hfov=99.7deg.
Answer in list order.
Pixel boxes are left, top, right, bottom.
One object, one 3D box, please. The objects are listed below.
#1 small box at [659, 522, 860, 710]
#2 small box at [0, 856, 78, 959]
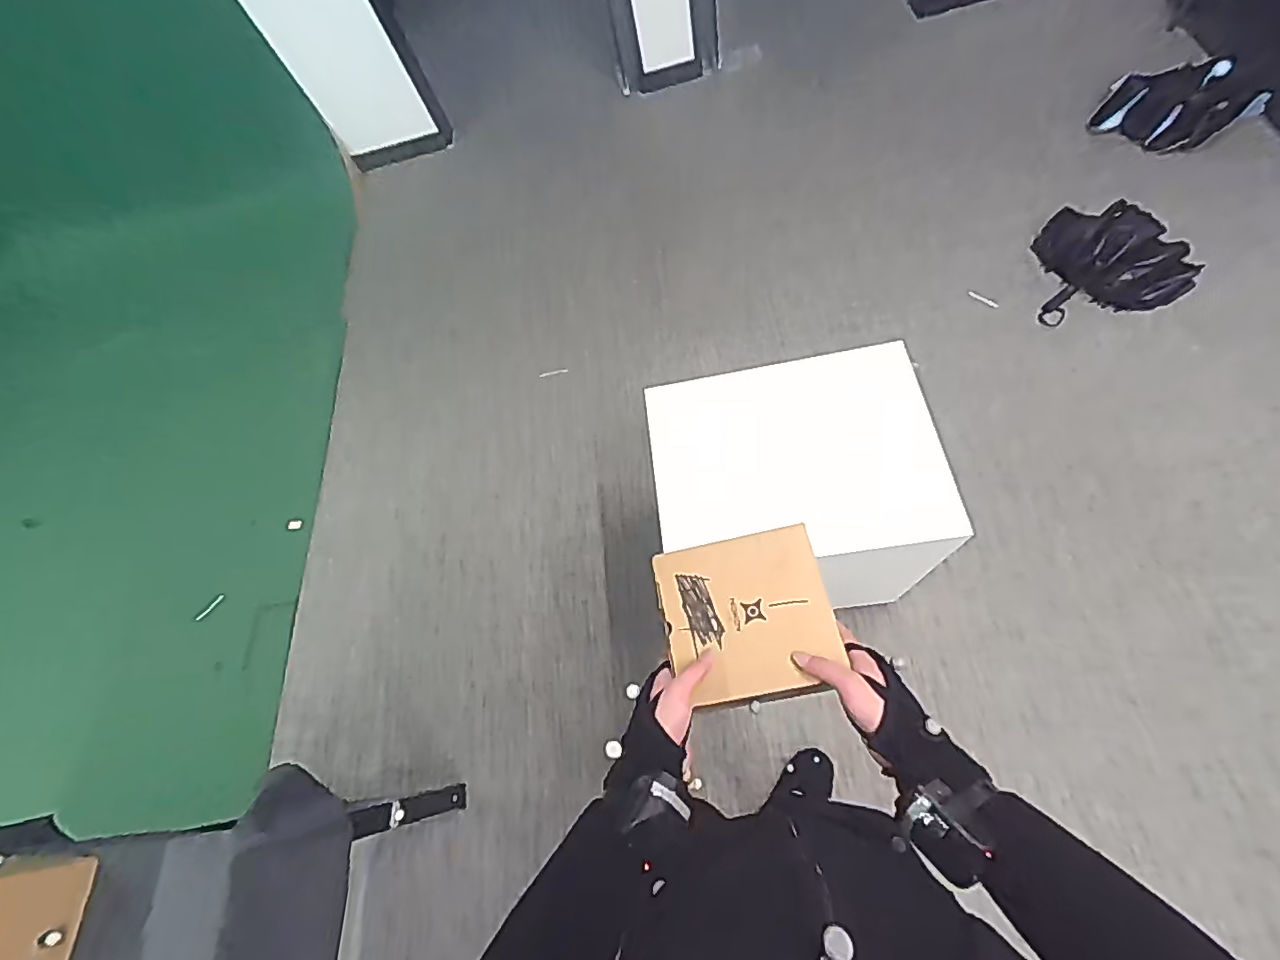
[{"bbox_3d":[0.131,0.167,0.630,0.179,0.176,0.168,-12,64,5],"label":"small box"},{"bbox_3d":[-0.888,0.595,0.684,0.168,0.176,0.179,-6,66,8],"label":"small box"}]
